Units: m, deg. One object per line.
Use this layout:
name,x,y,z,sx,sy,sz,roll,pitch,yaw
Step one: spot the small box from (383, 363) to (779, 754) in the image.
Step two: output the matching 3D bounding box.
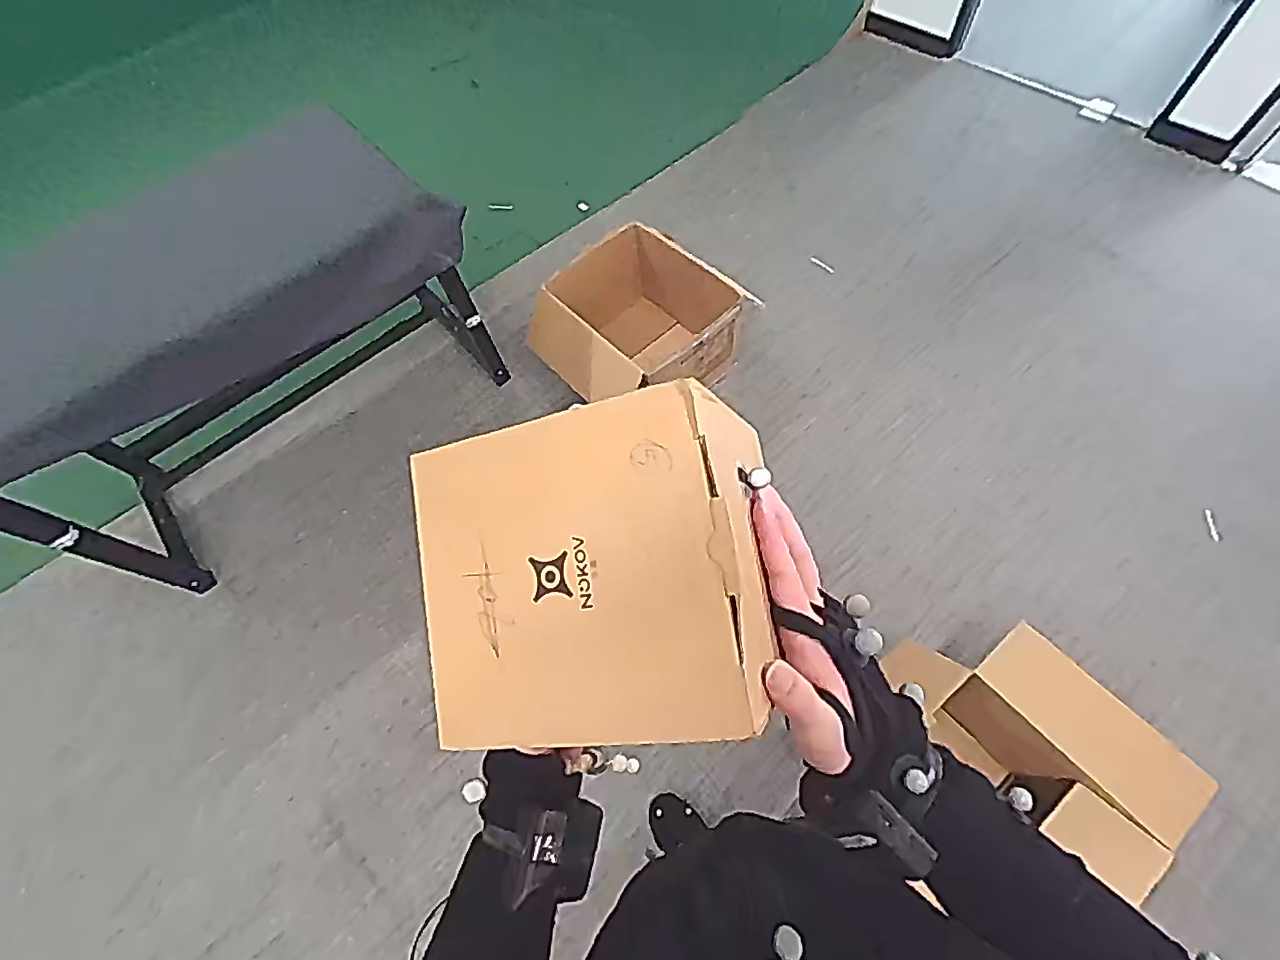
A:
small box,-0.020,0.049,0.331,0.179,0.176,0.168,-14,79,22
